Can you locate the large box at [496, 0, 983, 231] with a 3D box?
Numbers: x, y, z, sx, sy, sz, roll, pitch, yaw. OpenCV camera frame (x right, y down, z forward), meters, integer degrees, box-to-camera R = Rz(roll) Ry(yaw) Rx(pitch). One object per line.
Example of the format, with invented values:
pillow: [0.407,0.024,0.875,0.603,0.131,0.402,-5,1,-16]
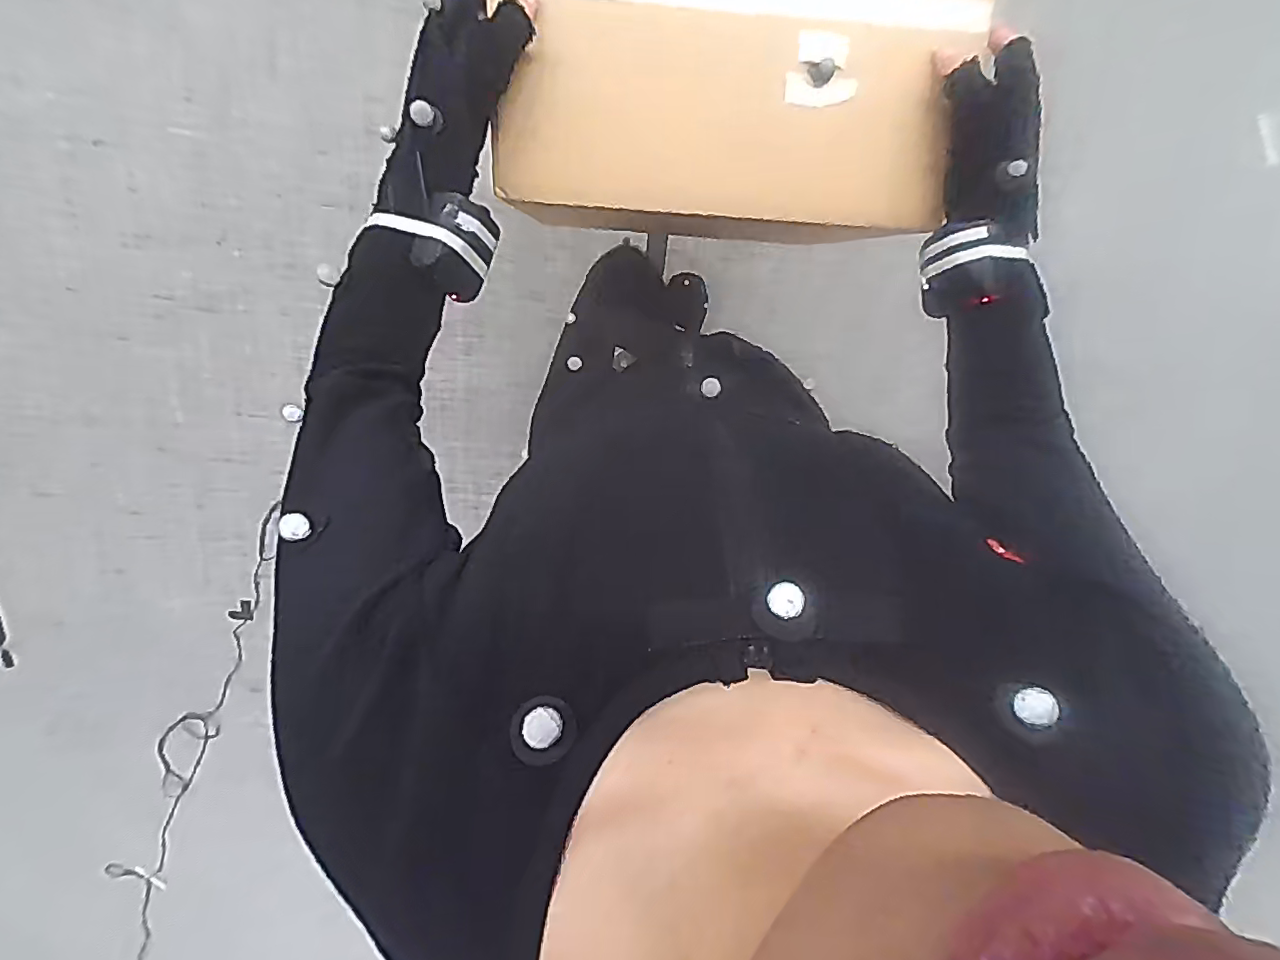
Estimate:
large box: [0.072,-0.447,0.568,0.408,0.320,0.320,1,112,-5]
